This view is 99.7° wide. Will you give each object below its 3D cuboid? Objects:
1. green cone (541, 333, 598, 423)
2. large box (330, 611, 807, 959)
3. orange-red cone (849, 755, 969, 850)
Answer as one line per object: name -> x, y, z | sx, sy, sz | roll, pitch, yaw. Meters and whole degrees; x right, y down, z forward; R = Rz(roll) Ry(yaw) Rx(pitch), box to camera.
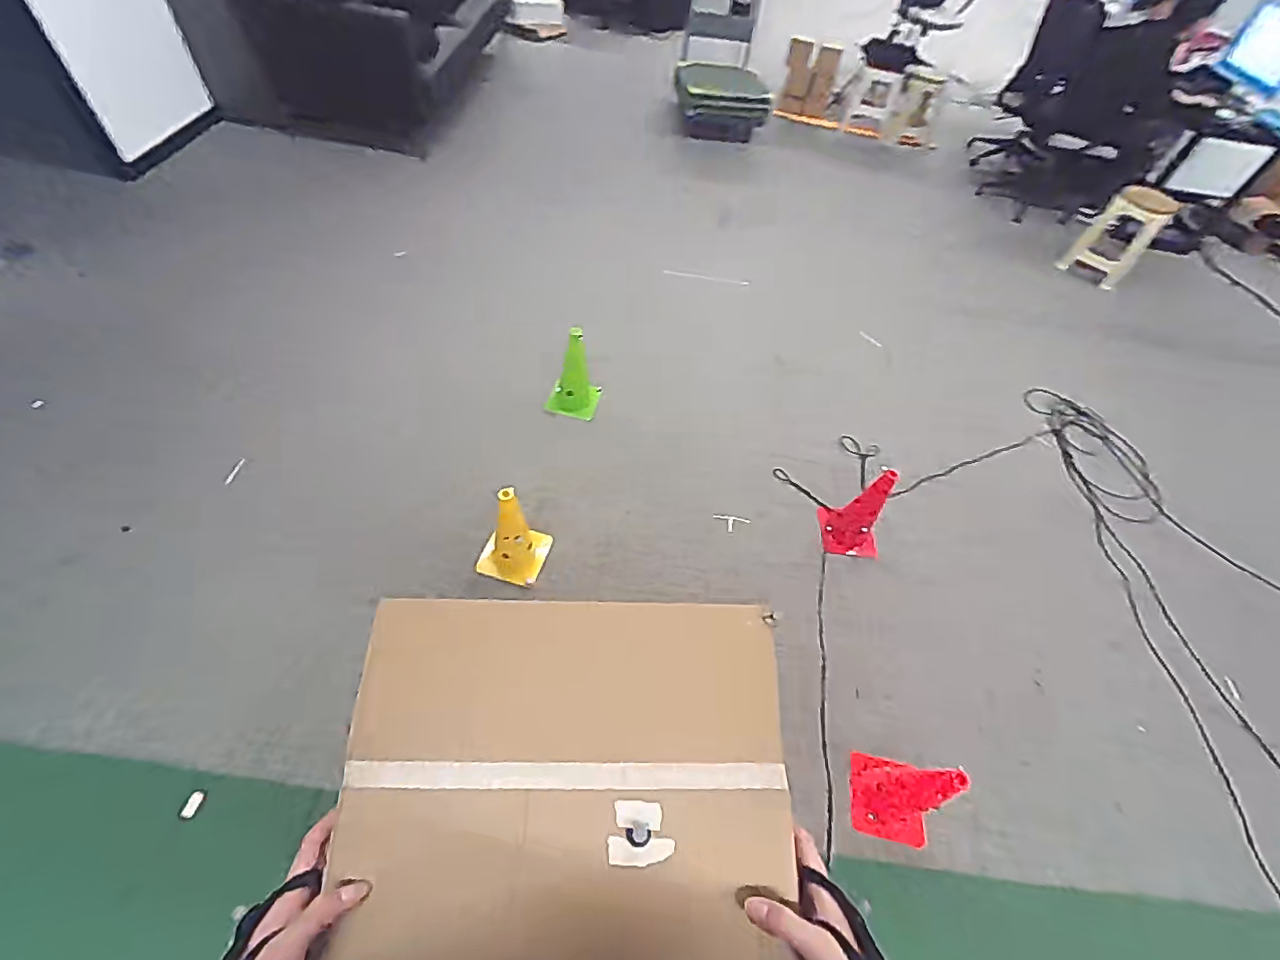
green cone -> -0.273, -0.423, 2.107 | 0.200, 0.368, 0.202 | 13, 54, 2
large box -> -0.066, 0.342, 0.638 | 0.408, 0.320, 0.320 | 1, 67, -2
orange-red cone -> 0.694, 0.781, 1.343 | 0.199, 0.360, 0.198 | 15, 54, 1
